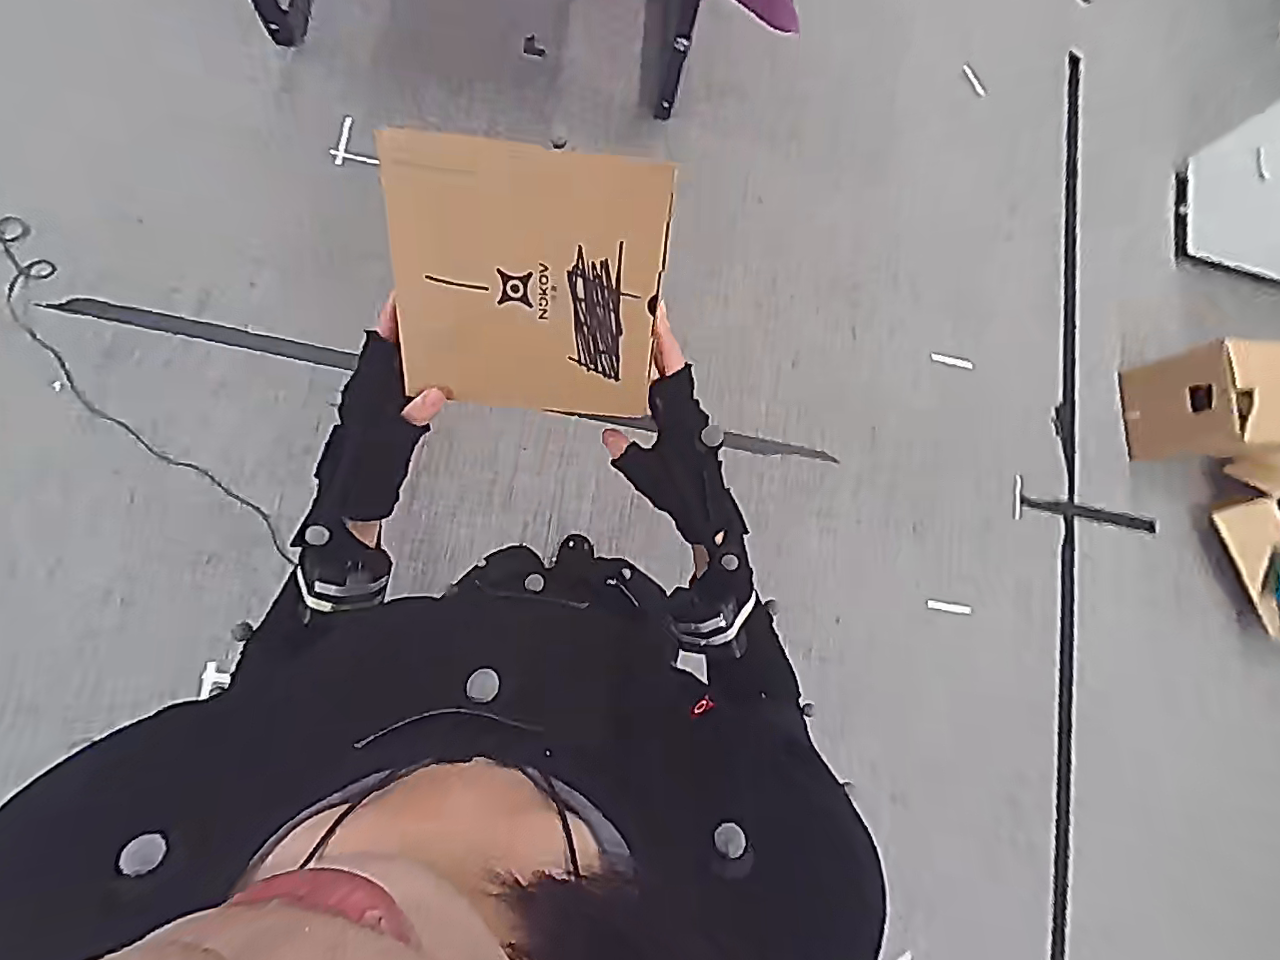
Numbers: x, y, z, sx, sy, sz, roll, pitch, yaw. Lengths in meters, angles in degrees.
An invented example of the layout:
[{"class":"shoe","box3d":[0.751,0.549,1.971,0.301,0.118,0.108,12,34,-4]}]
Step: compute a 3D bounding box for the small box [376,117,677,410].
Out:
[{"class":"small box","box3d":[-0.075,-0.167,0.419,0.179,0.176,0.168,5,119,-4]}]
